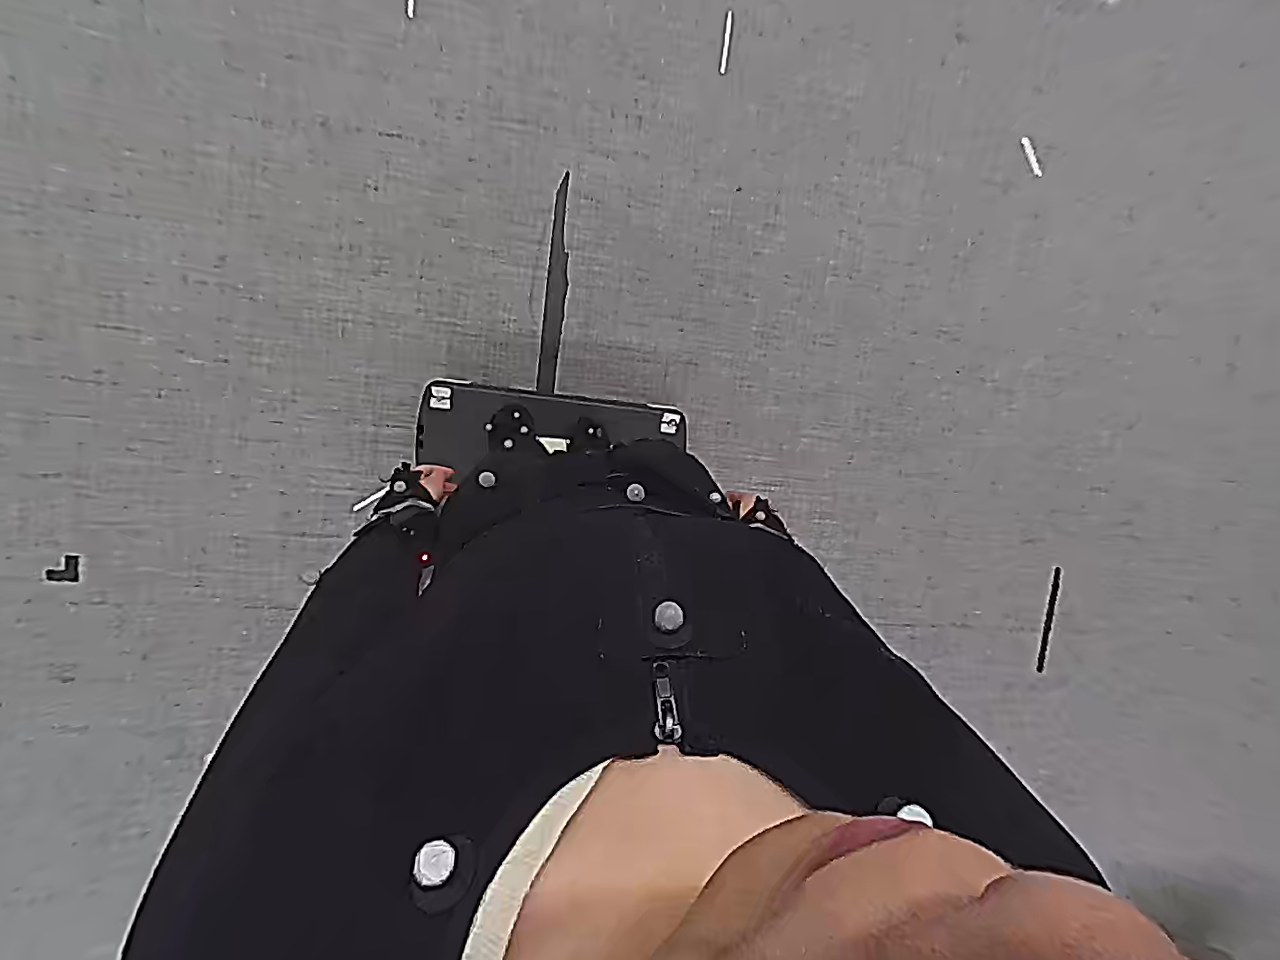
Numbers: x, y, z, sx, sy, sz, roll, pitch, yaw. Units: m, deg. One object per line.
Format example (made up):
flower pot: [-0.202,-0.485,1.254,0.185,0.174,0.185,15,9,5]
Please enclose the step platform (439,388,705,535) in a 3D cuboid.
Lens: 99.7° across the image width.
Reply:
step platform: [-0.174,-0.044,1.442,0.684,0.204,0.286,10,94,-12]
